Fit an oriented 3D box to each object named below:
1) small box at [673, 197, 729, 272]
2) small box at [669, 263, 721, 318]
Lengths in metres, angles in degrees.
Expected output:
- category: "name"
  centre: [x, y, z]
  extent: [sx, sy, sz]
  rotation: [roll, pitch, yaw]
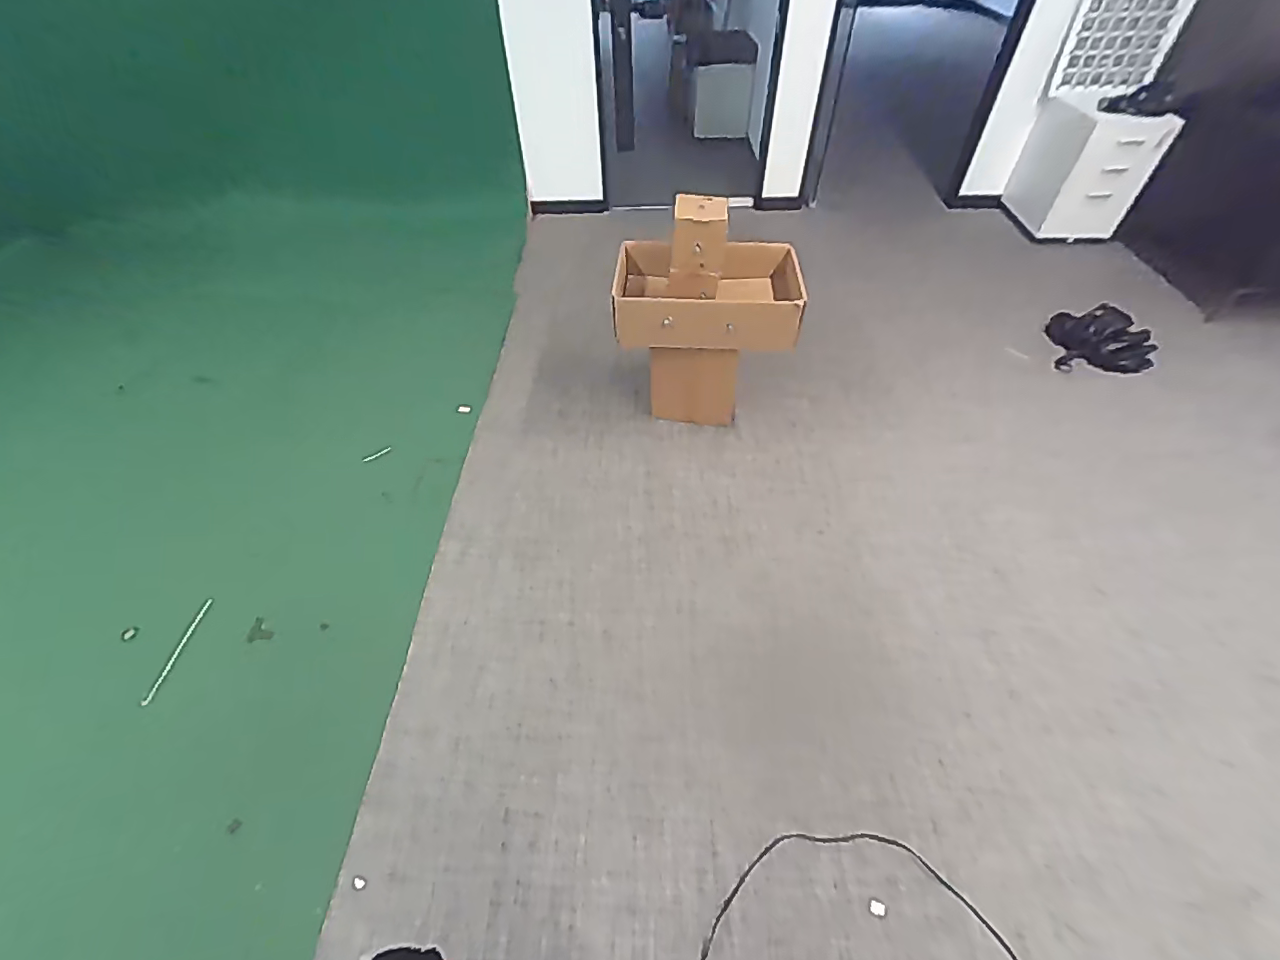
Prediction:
- category: "small box"
  centre: [0.197, -0.797, 1.762]
  extent: [0.168, 0.176, 0.179]
  rotation: [6, 50, 2]
- category: "small box"
  centre: [0.190, -0.681, 1.879]
  extent: [0.168, 0.176, 0.179]
  rotation: [6, 47, 2]
